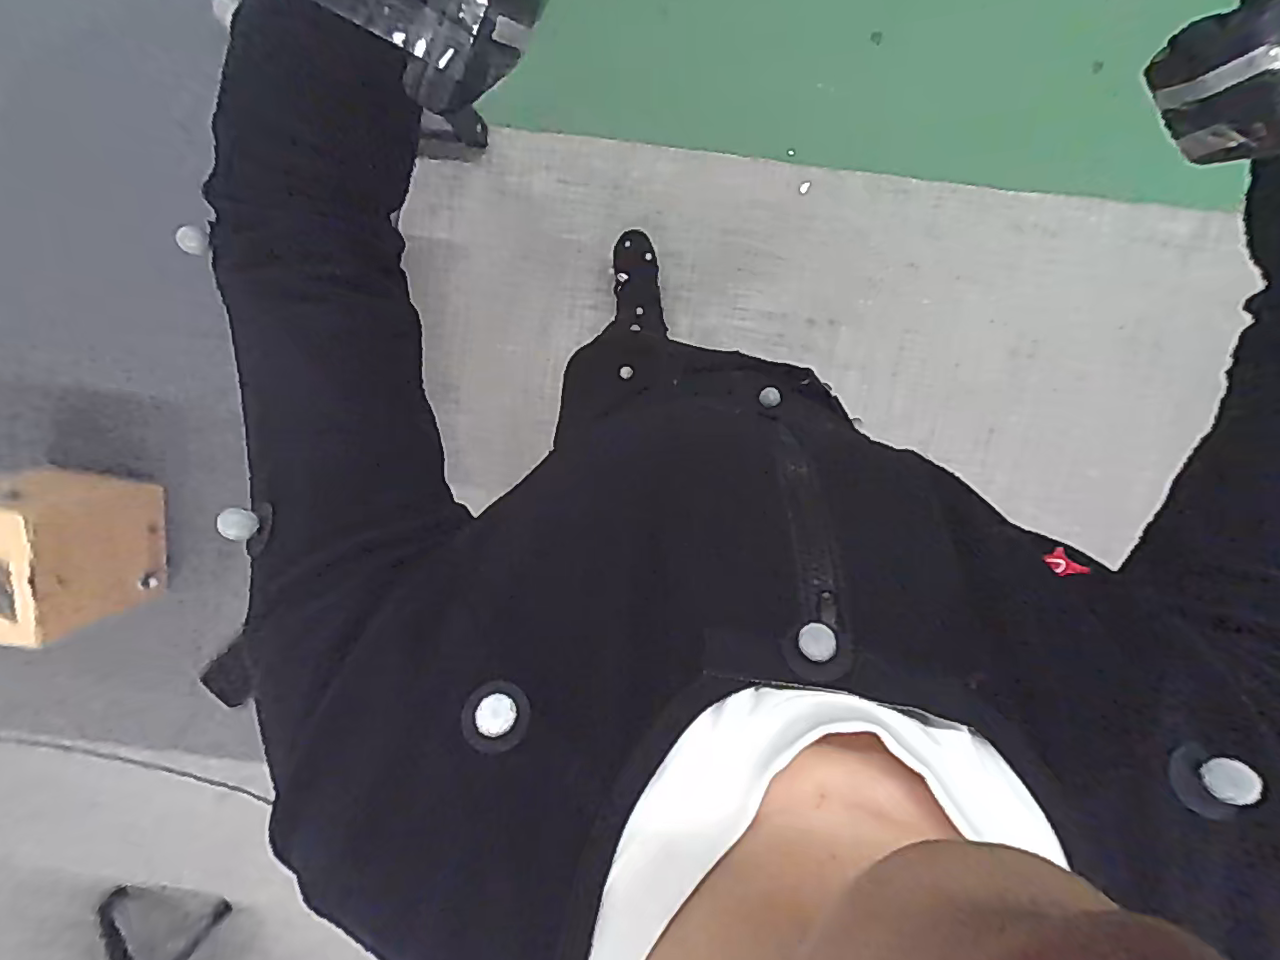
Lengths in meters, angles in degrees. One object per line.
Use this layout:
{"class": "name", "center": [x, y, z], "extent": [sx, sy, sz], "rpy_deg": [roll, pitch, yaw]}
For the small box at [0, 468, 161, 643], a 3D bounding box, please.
{"class": "small box", "center": [-0.767, 0.085, 0.695], "extent": [0.179, 0.176, 0.168], "rpy_deg": [8, 100, 3]}
